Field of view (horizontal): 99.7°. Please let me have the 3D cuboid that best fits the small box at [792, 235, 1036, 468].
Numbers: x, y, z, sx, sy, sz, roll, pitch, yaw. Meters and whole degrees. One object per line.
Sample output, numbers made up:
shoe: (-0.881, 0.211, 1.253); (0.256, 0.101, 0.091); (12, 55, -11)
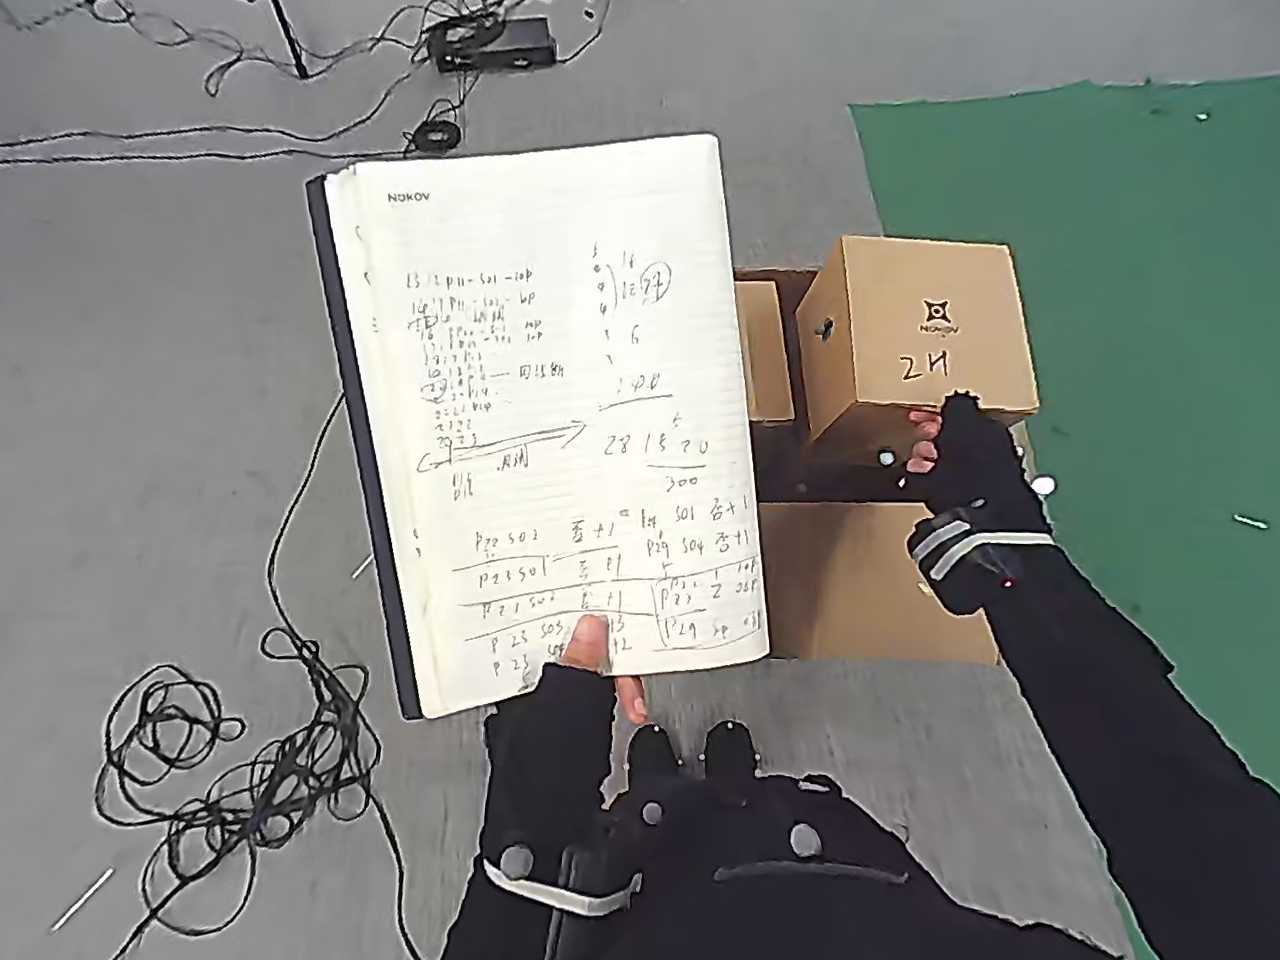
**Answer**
small box: (0.266, -0.125, 0.572); (0.168, 0.176, 0.179); (3, 73, -1)
